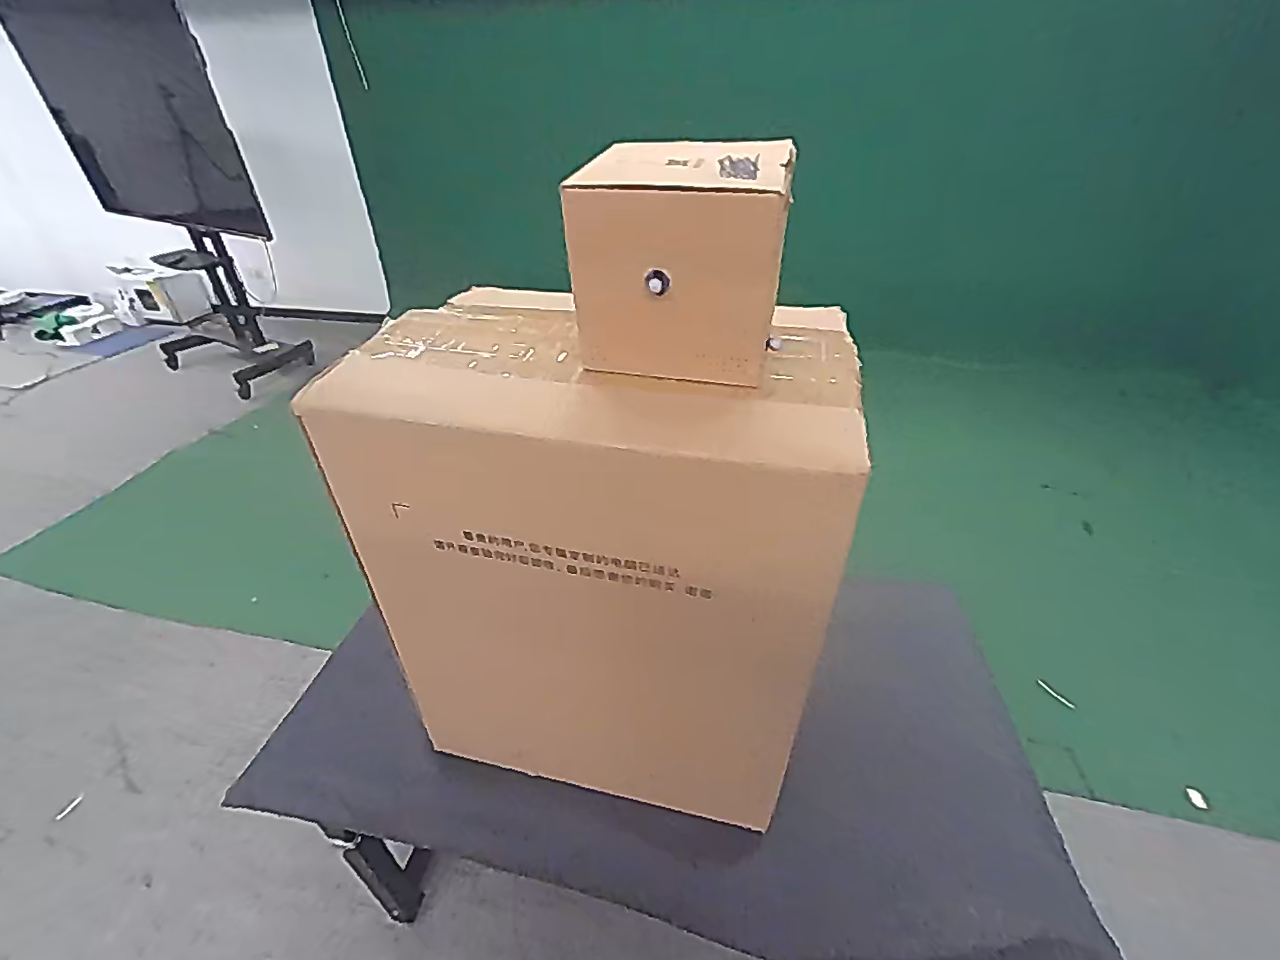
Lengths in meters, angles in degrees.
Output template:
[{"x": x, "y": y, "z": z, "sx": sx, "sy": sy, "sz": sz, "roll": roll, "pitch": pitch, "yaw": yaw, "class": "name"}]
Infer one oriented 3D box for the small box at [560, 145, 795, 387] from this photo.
[{"x": 0.044, "y": -0.206, "z": 0.519, "sx": 0.179, "sy": 0.176, "sz": 0.168, "roll": 8, "pitch": 43, "yaw": 13, "class": "small box"}]
